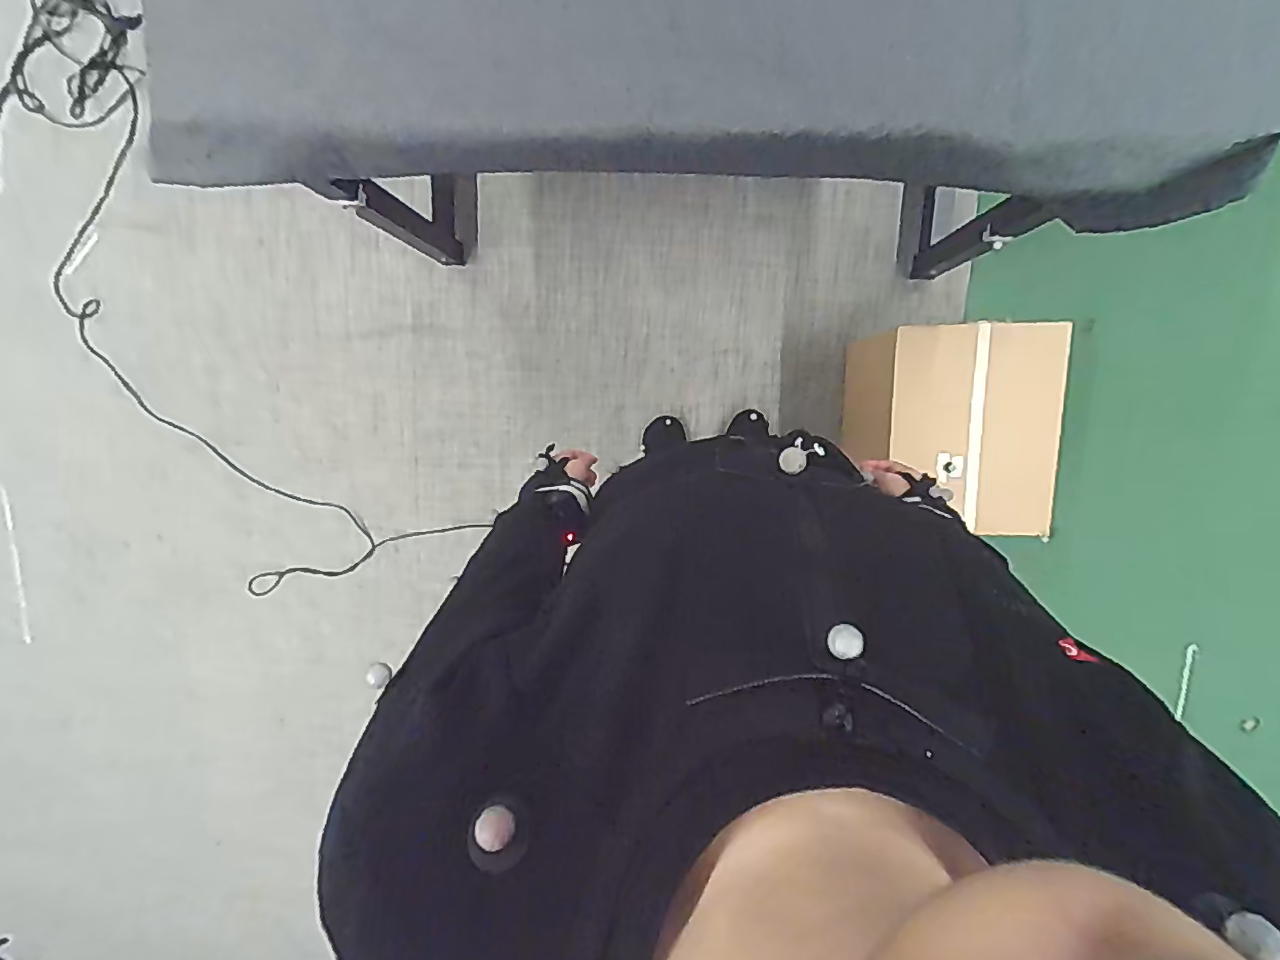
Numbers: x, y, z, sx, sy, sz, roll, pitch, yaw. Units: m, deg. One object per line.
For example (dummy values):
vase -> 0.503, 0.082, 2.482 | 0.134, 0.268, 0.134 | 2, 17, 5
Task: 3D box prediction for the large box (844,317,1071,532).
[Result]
large box -> 0.643, -0.121, 1.163 | 0.320, 0.320, 0.408 | 0, 99, 5
